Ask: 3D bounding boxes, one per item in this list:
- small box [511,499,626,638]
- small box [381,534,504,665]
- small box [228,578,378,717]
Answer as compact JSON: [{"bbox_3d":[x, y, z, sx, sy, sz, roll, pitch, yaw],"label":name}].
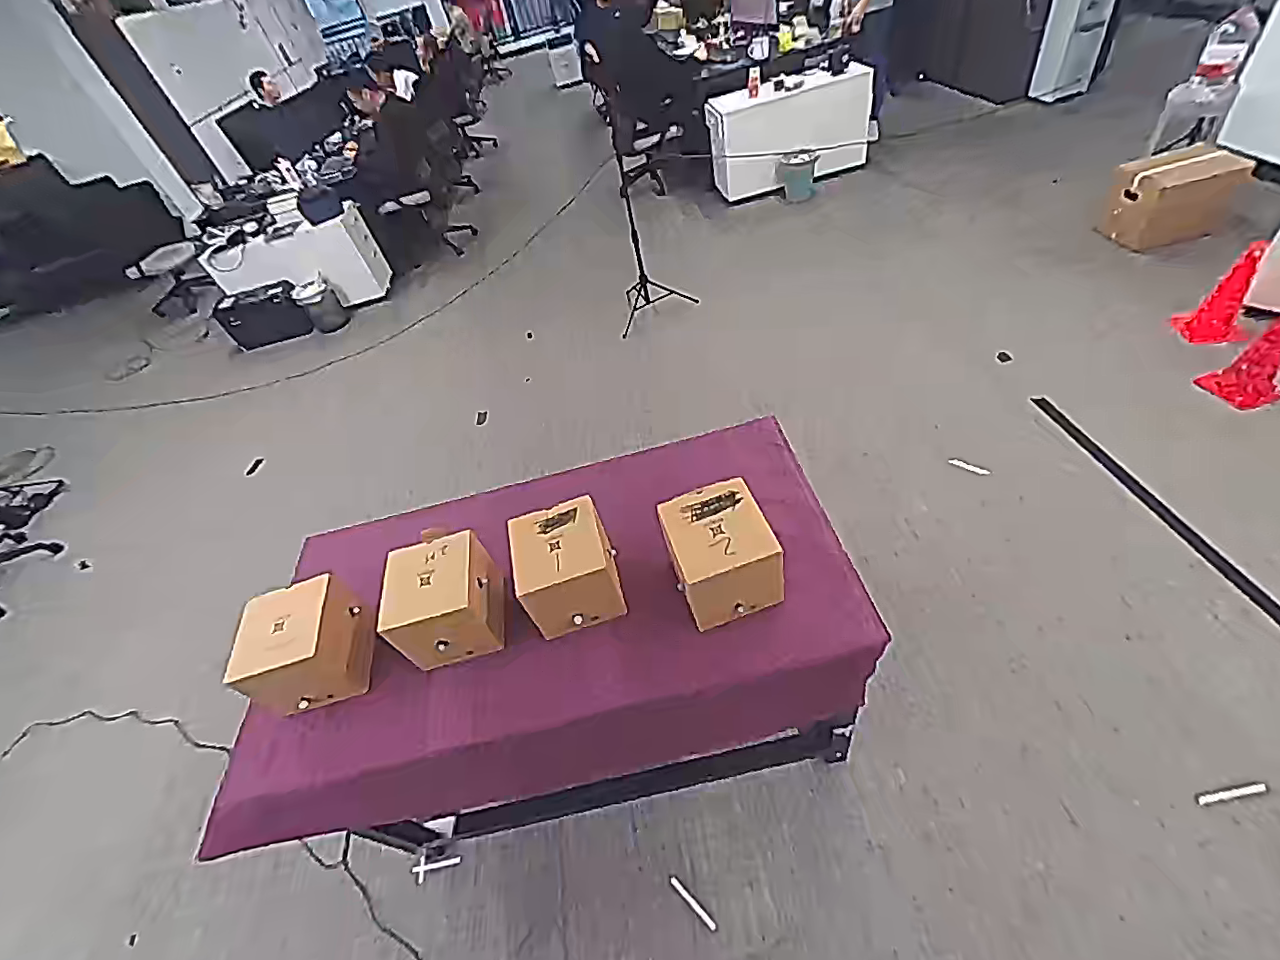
[{"bbox_3d":[-0.137,0.172,1.042,0.168,0.176,0.179,-18,47,-1],"label":"small box"},{"bbox_3d":[-0.370,0.238,1.046,0.168,0.176,0.179,-16,46,1],"label":"small box"},{"bbox_3d":[-0.631,0.323,1.040,0.168,0.176,0.179,-18,46,0],"label":"small box"}]
